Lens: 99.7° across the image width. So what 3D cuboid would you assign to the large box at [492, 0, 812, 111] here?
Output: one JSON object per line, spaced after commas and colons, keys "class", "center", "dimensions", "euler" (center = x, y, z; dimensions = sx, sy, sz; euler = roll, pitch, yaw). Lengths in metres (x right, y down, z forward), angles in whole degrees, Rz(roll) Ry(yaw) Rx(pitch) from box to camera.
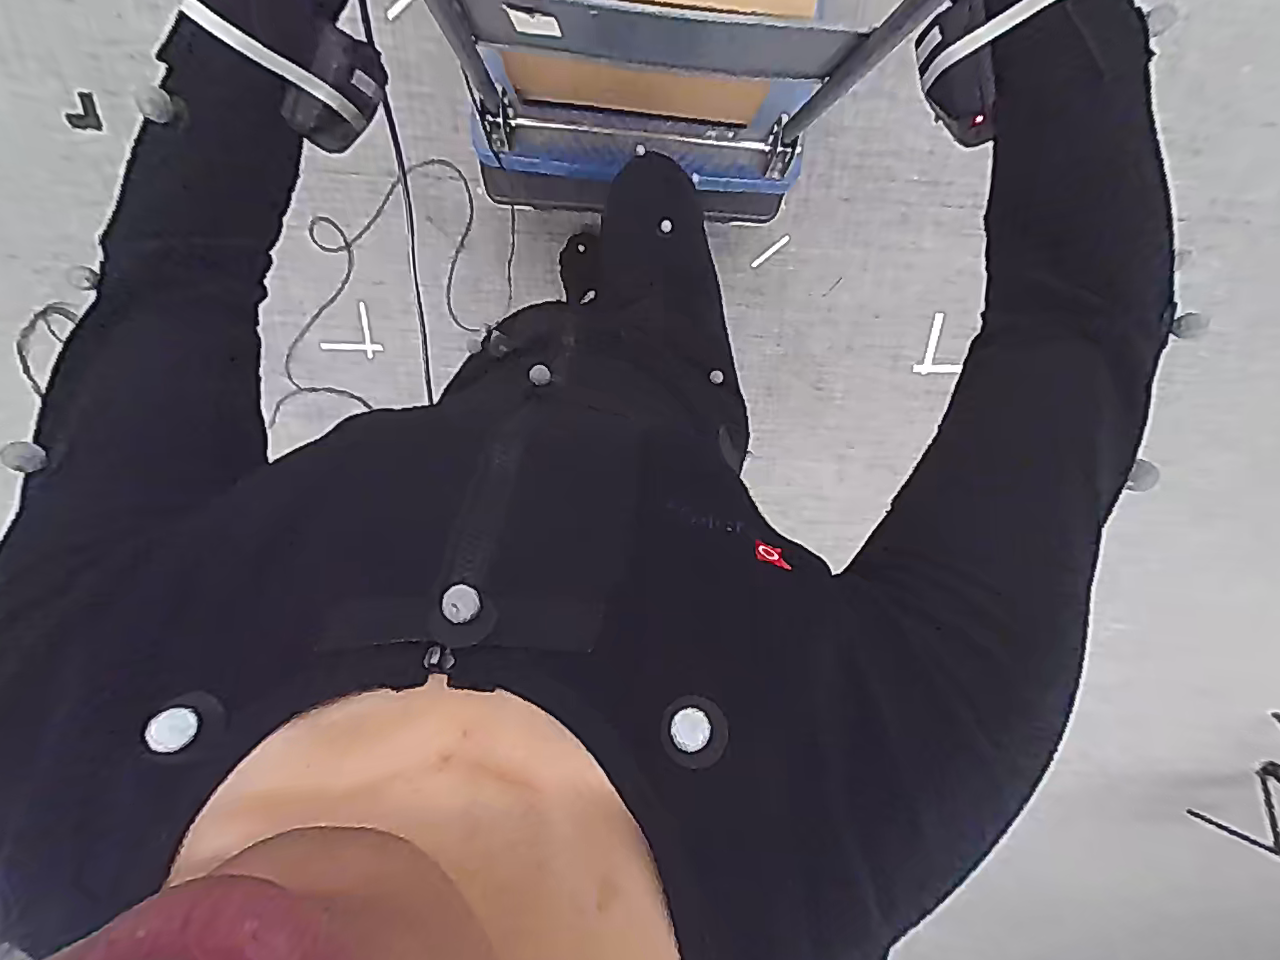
{"class": "large box", "center": [0.009, -0.762, 0.751], "dimensions": [0.408, 0.320, 0.320], "euler": [3, 104, -5]}
